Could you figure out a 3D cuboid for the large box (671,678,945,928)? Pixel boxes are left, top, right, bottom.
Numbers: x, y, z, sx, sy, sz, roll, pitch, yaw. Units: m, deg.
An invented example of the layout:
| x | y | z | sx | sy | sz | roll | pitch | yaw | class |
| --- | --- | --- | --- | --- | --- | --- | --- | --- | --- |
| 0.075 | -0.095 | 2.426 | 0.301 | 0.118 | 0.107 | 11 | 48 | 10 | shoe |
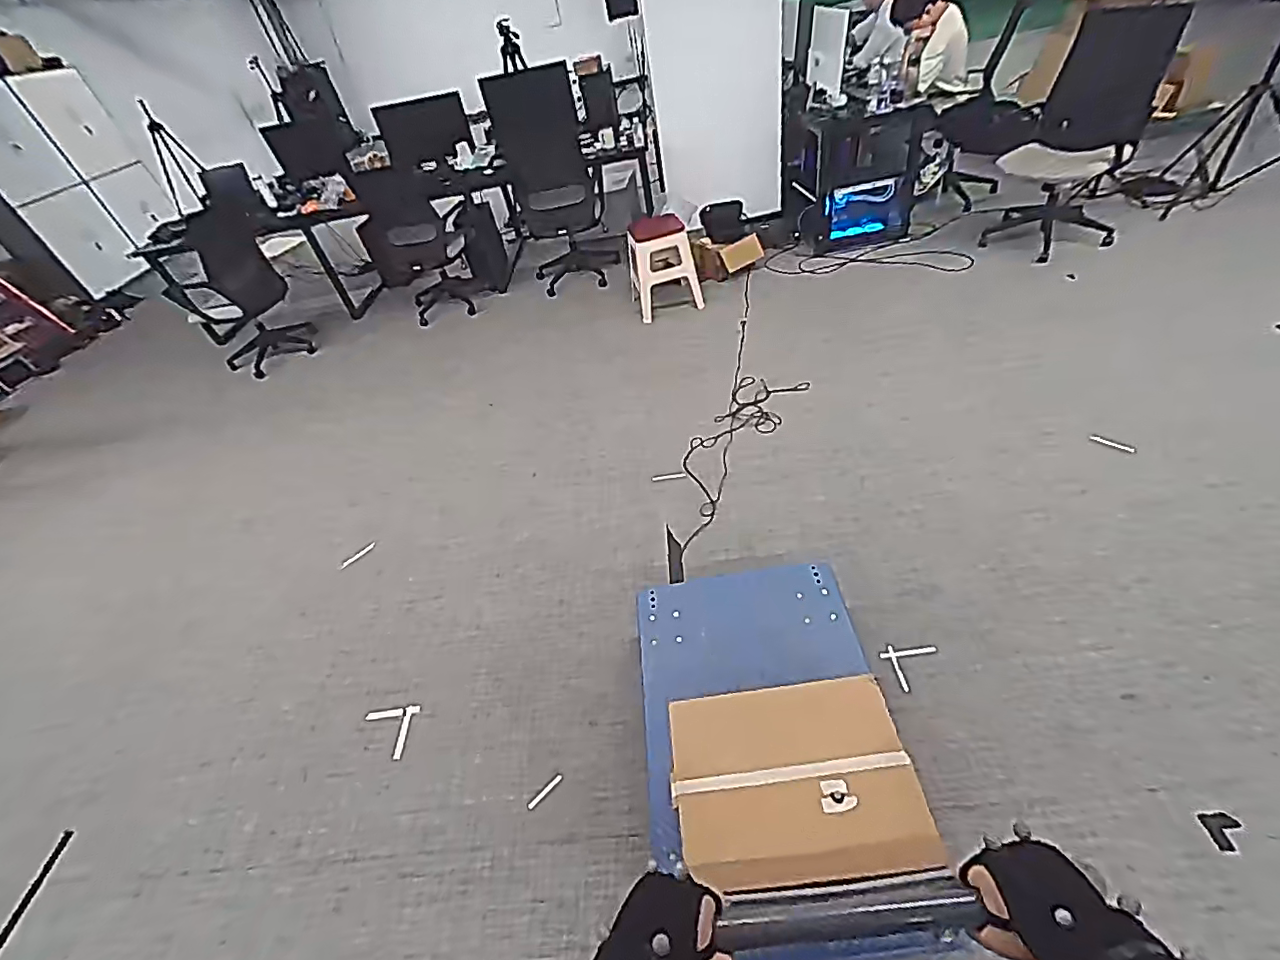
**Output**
| x | y | z | sx | sy | sz | roll | pitch | yaw | class |
| --- | --- | --- | --- | --- | --- | --- | --- | --- | --- |
| 0.291 | 0.631 | 1.053 | 0.408 | 0.320 | 0.320 | -10 | 43 | 4 | large box |
